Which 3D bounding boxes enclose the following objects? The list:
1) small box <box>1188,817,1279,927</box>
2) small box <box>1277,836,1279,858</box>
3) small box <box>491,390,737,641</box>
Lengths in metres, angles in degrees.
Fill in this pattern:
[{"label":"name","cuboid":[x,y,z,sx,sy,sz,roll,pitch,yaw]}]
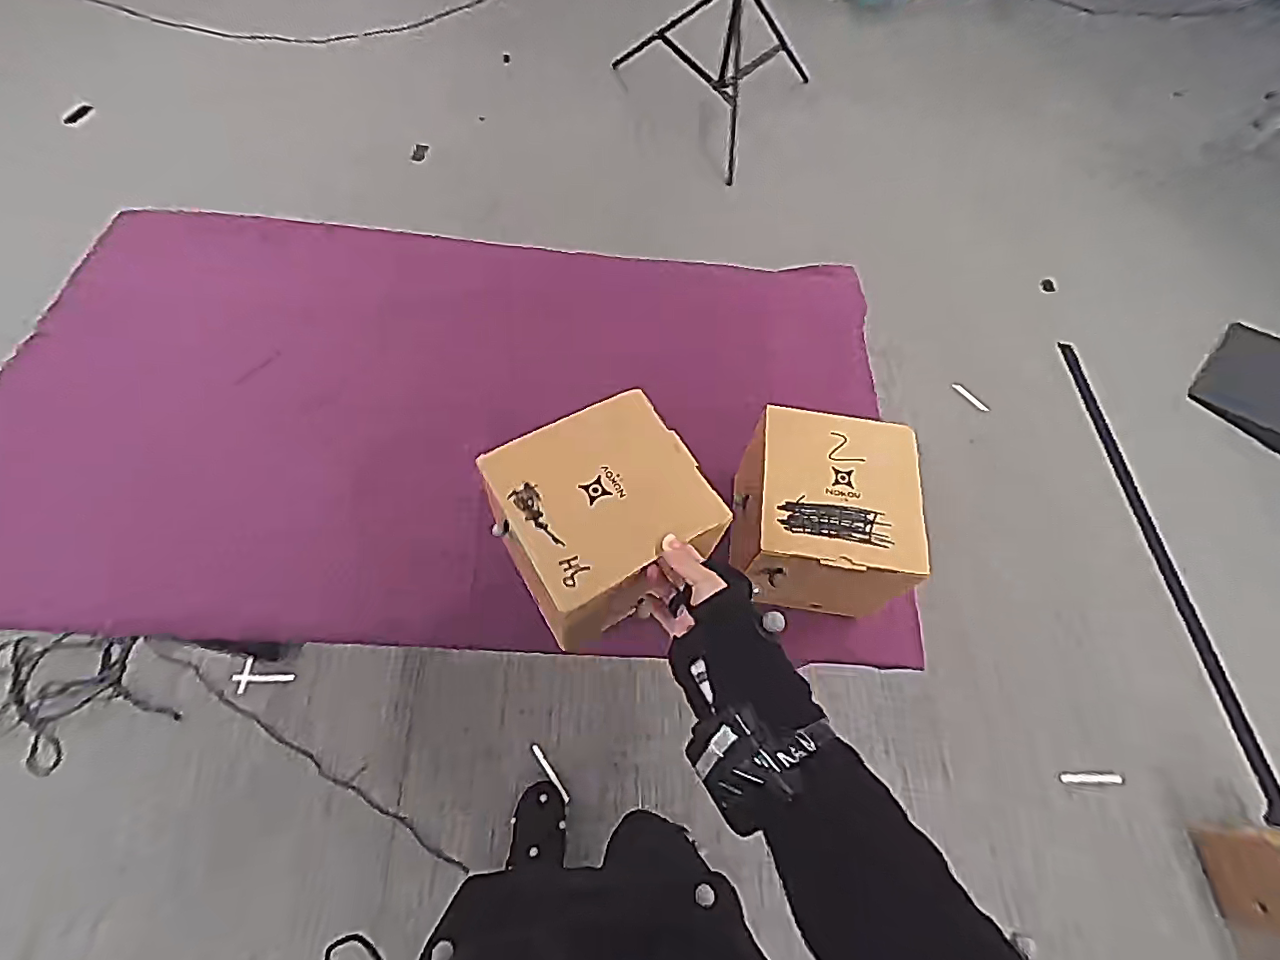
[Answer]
[{"label":"small box","cuboid":[1.350,0.831,1.148,0.168,0.176,0.179,-1,63,-6]},{"label":"small box","cuboid":[1.362,0.764,0.998,0.179,0.176,0.168,2,64,-5]},{"label":"small box","cuboid":[-0.034,0.042,0.555,0.179,0.176,0.168,-24,68,-19]}]
